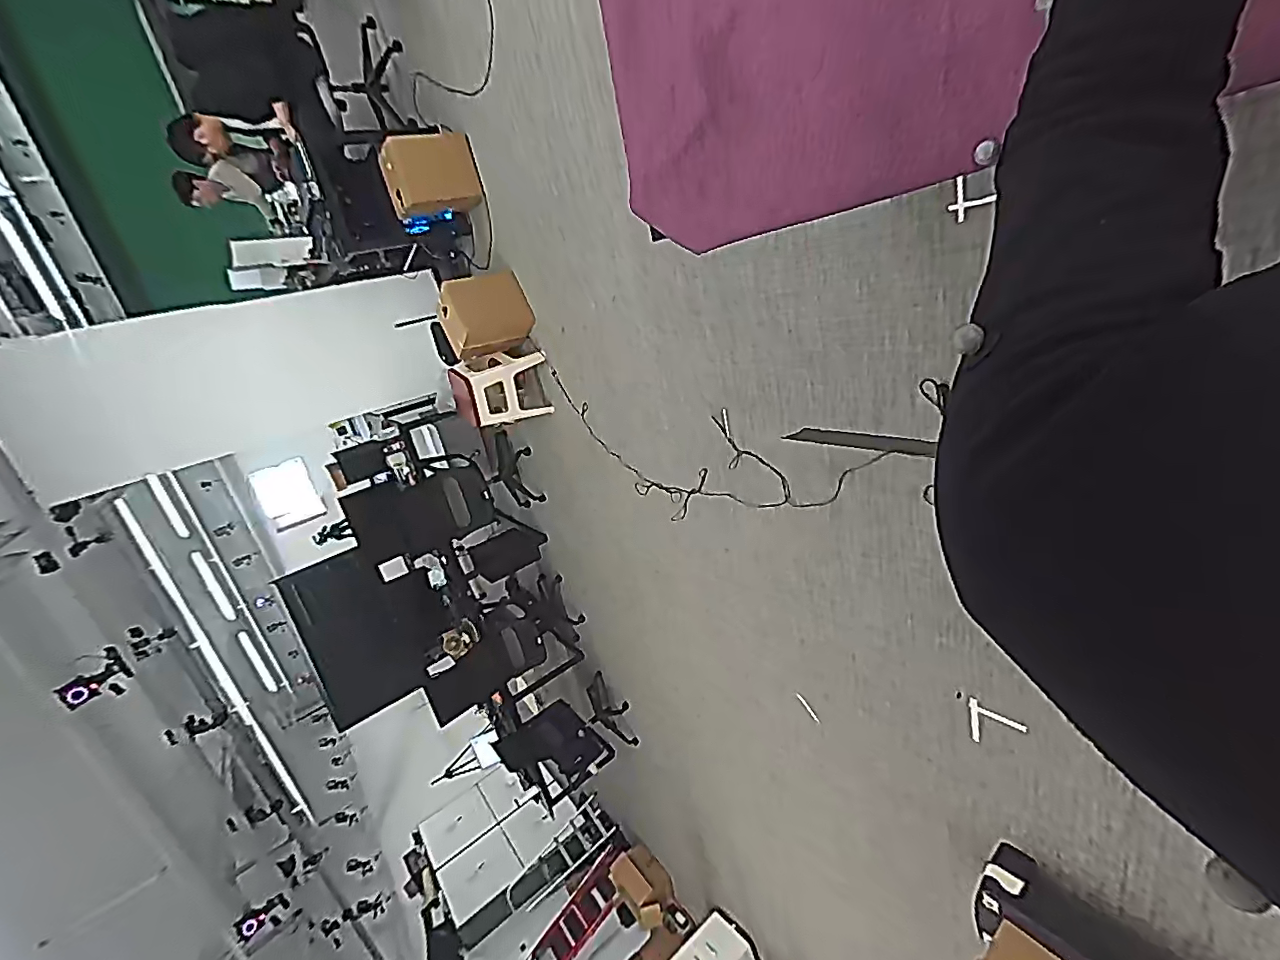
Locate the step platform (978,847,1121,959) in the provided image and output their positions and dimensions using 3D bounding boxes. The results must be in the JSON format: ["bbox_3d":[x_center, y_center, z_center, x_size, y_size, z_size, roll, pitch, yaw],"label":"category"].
[{"bbox_3d":[1.377,1.440,1.566,0.684,0.204,0.286,14,124,52],"label":"step platform"}]
